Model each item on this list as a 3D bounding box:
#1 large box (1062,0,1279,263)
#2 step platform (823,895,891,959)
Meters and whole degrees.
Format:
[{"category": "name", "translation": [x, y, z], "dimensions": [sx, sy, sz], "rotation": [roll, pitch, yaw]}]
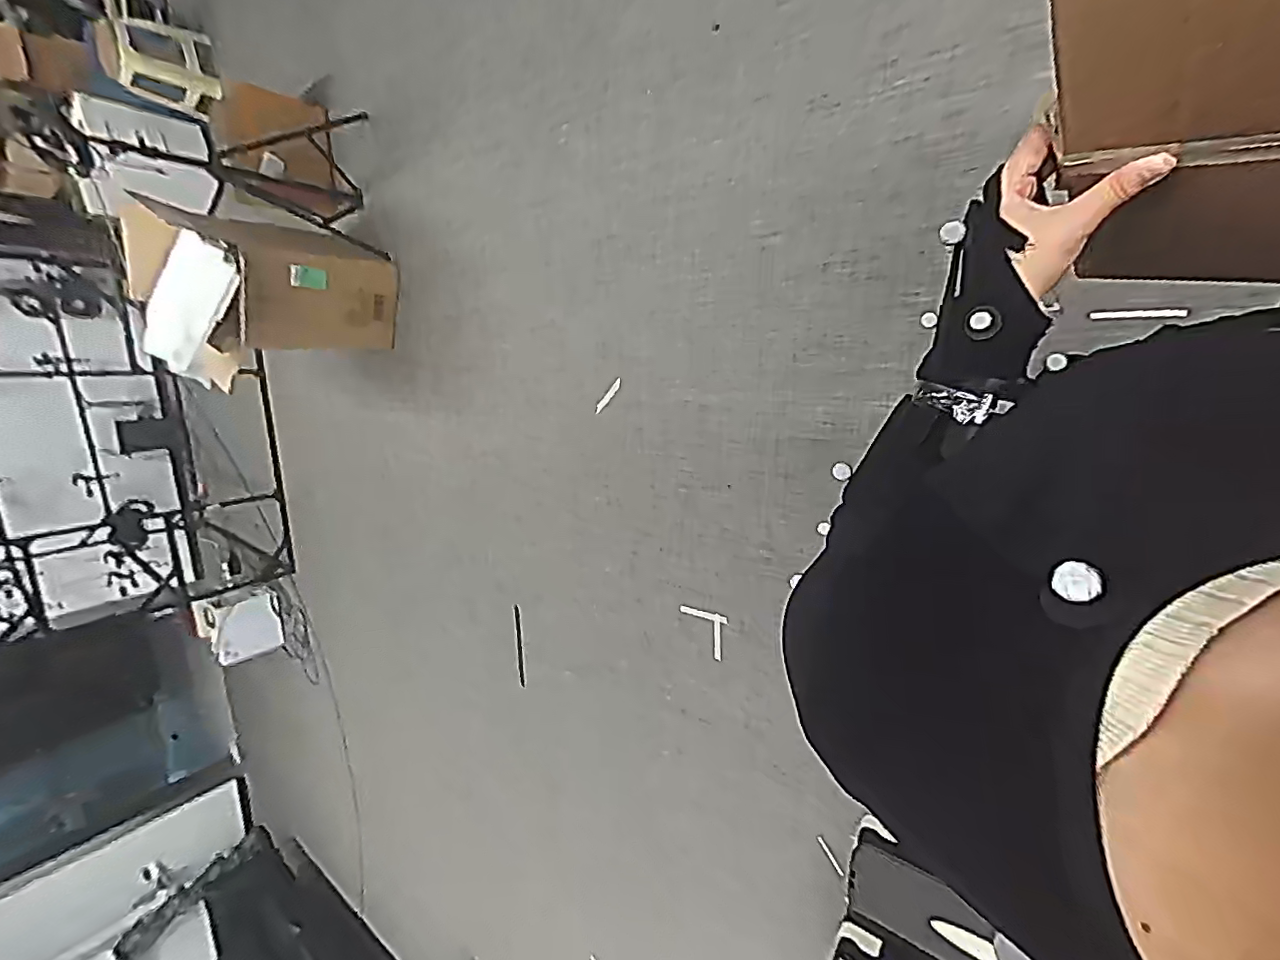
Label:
[{"category": "large box", "translation": [0.427, -0.288, 0.165], "dimensions": [0.408, 0.320, 0.320], "rotation": [21, 94, 42]}, {"category": "step platform", "translation": [0.801, 1.421, 1.354], "dimensions": [0.684, 0.204, 0.286], "rotation": [17, 110, 35]}]
